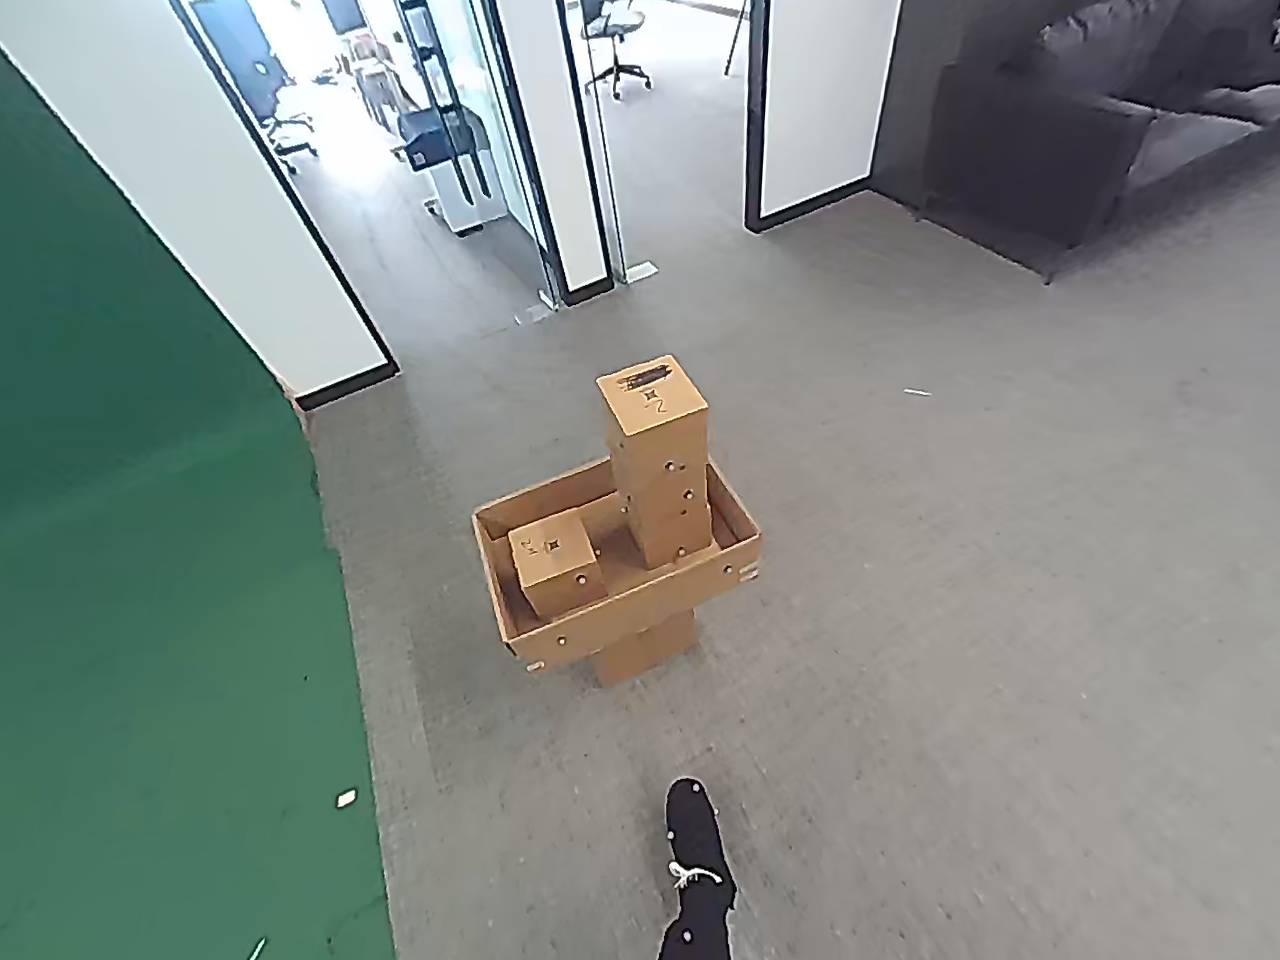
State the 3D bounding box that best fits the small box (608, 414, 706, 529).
[{"bbox_3d":[0.043,-0.012,1.220,0.168,0.176,0.179,-21,51,-9],"label":"small box"}]
